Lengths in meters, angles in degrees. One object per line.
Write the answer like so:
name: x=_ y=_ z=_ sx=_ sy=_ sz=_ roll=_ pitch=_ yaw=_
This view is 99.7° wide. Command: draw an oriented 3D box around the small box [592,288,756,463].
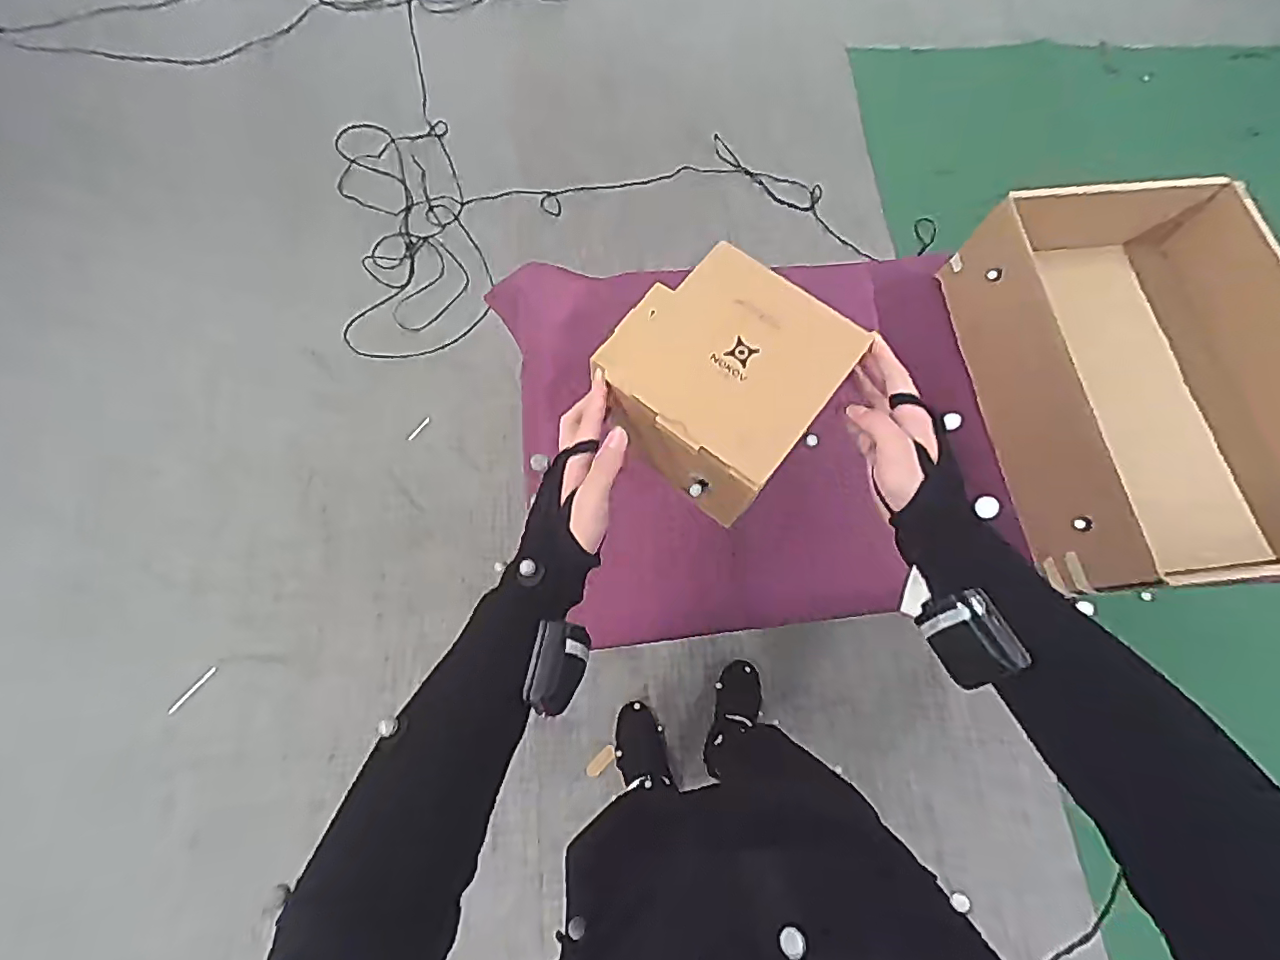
small box: x=0.045 y=-0.147 z=0.827 sx=0.179 sy=0.176 sz=0.168 roll=35 pitch=72 yaw=9
